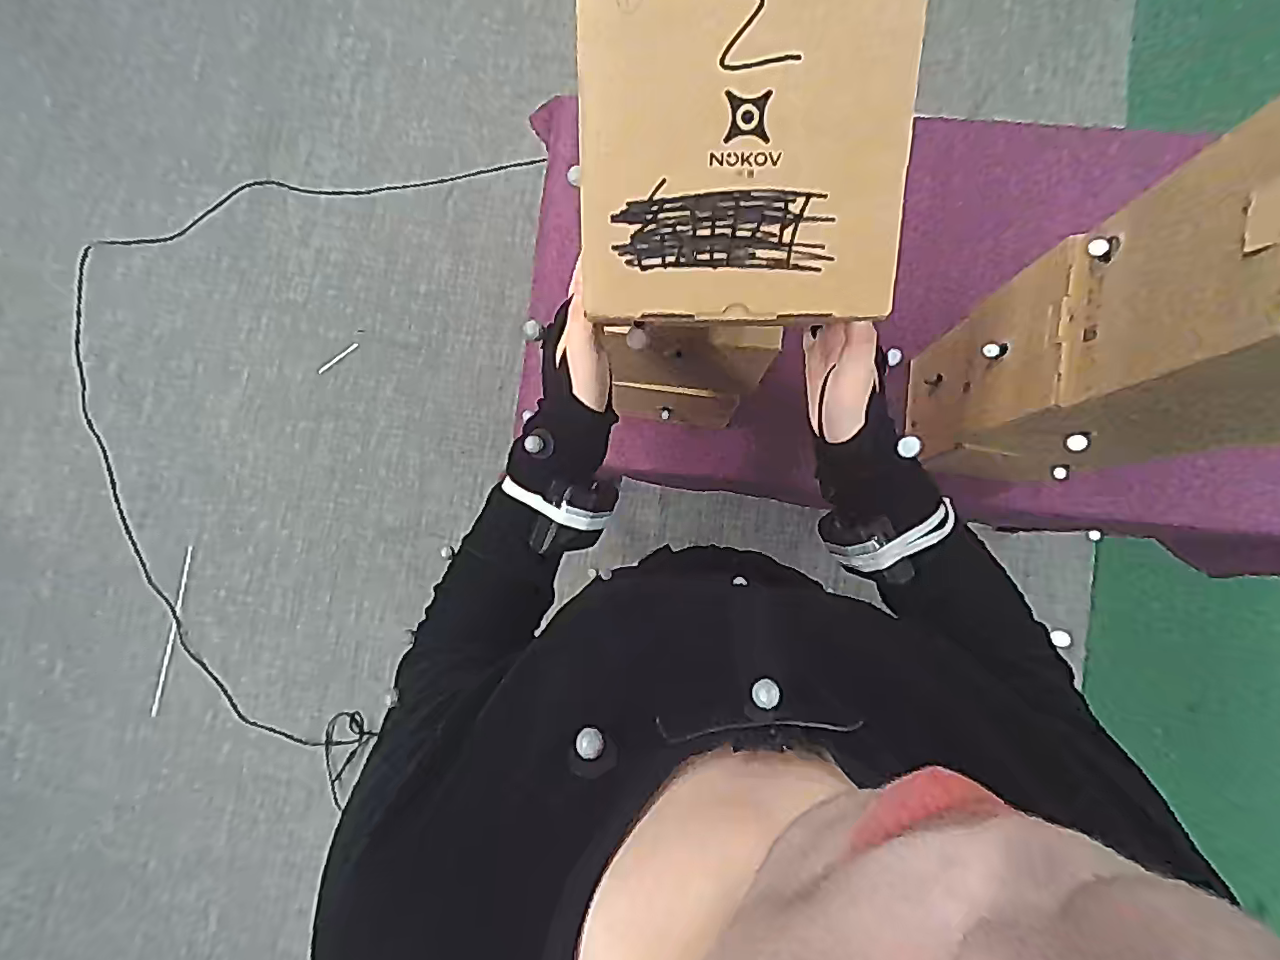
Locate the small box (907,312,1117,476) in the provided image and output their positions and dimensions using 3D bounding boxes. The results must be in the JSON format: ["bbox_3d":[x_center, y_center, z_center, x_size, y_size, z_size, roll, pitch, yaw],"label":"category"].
[{"bbox_3d":[0.475,-0.102,0.710,0.179,0.176,0.168,7,84,3],"label":"small box"}]

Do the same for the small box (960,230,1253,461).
[{"bbox_3d":[0.460,-0.121,0.548,0.179,0.176,0.168,11,85,4],"label":"small box"}]

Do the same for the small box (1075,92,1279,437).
[{"bbox_3d":[0.461,-0.135,0.383,0.179,0.176,0.168,11,85,2],"label":"small box"}]

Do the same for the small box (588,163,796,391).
[{"bbox_3d":[0.052,-0.200,0.575,0.179,0.176,0.168,7,85,4],"label":"small box"}]

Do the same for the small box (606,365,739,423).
[{"bbox_3d":[0.056,-0.183,0.738,0.168,0.176,0.179,8,85,3],"label":"small box"}]
